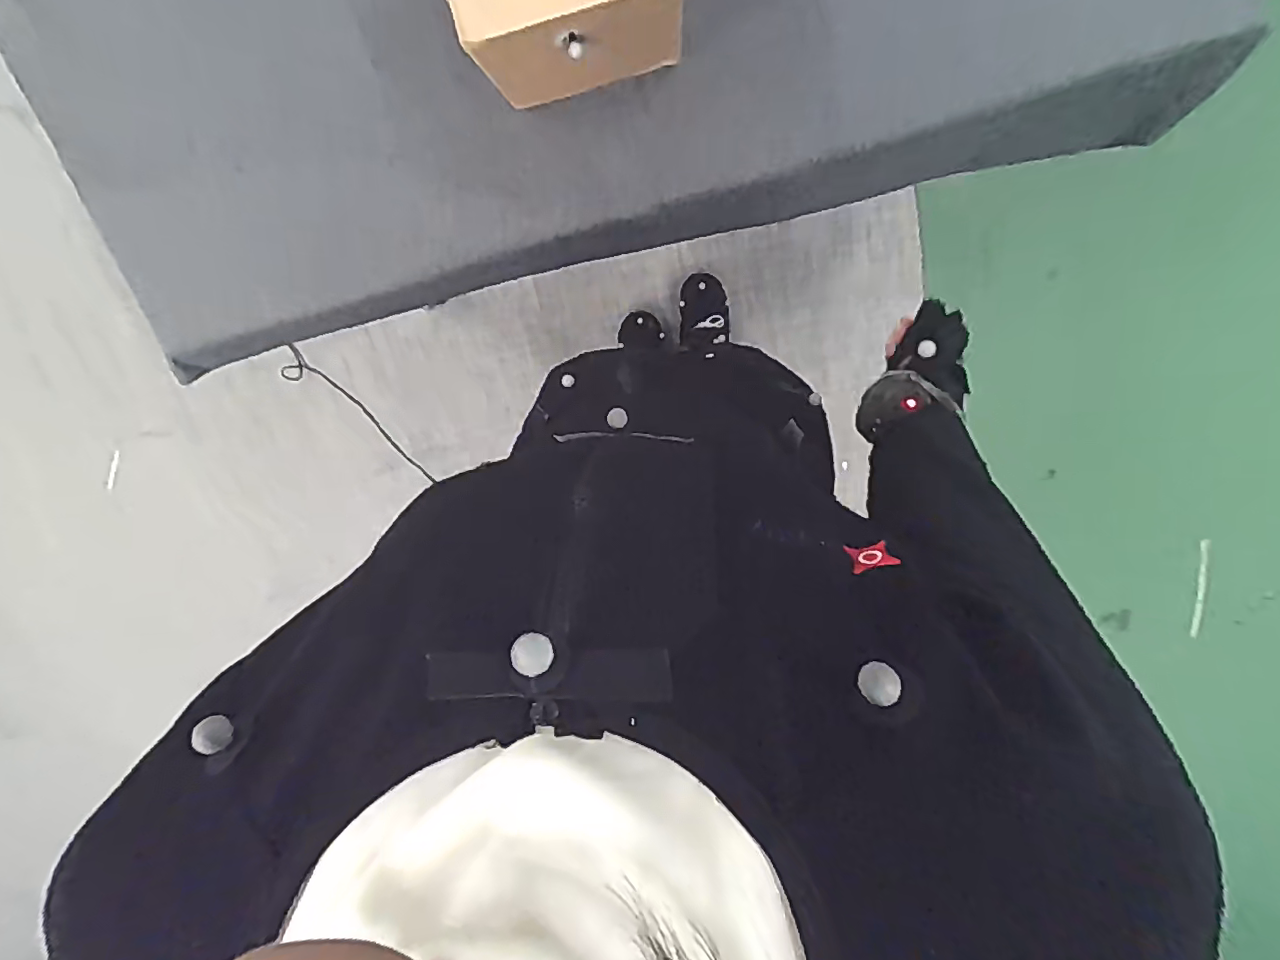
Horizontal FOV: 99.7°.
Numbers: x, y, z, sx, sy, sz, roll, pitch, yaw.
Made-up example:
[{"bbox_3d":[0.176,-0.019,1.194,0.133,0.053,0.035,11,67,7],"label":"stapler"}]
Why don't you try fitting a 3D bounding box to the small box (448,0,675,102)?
[{"bbox_3d":[-0.068,-0.454,0.457,0.179,0.176,0.168,-12,109,6],"label":"small box"}]
